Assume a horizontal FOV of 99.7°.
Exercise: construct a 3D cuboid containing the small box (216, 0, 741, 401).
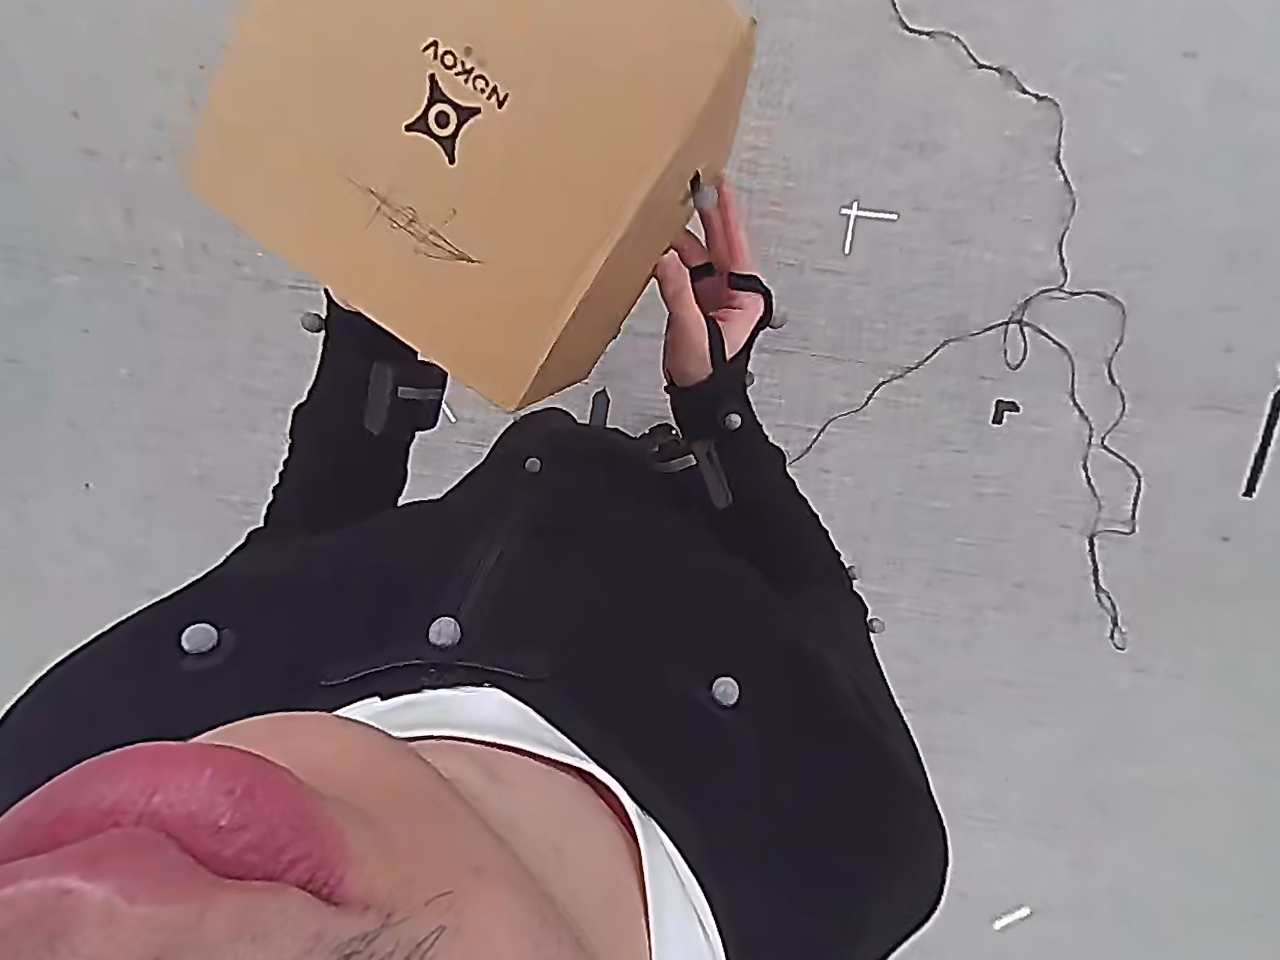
[{"bbox_3d":[-0.067,-0.169,0.298,0.168,0.176,0.179,33,106,-3],"label":"small box"}]
